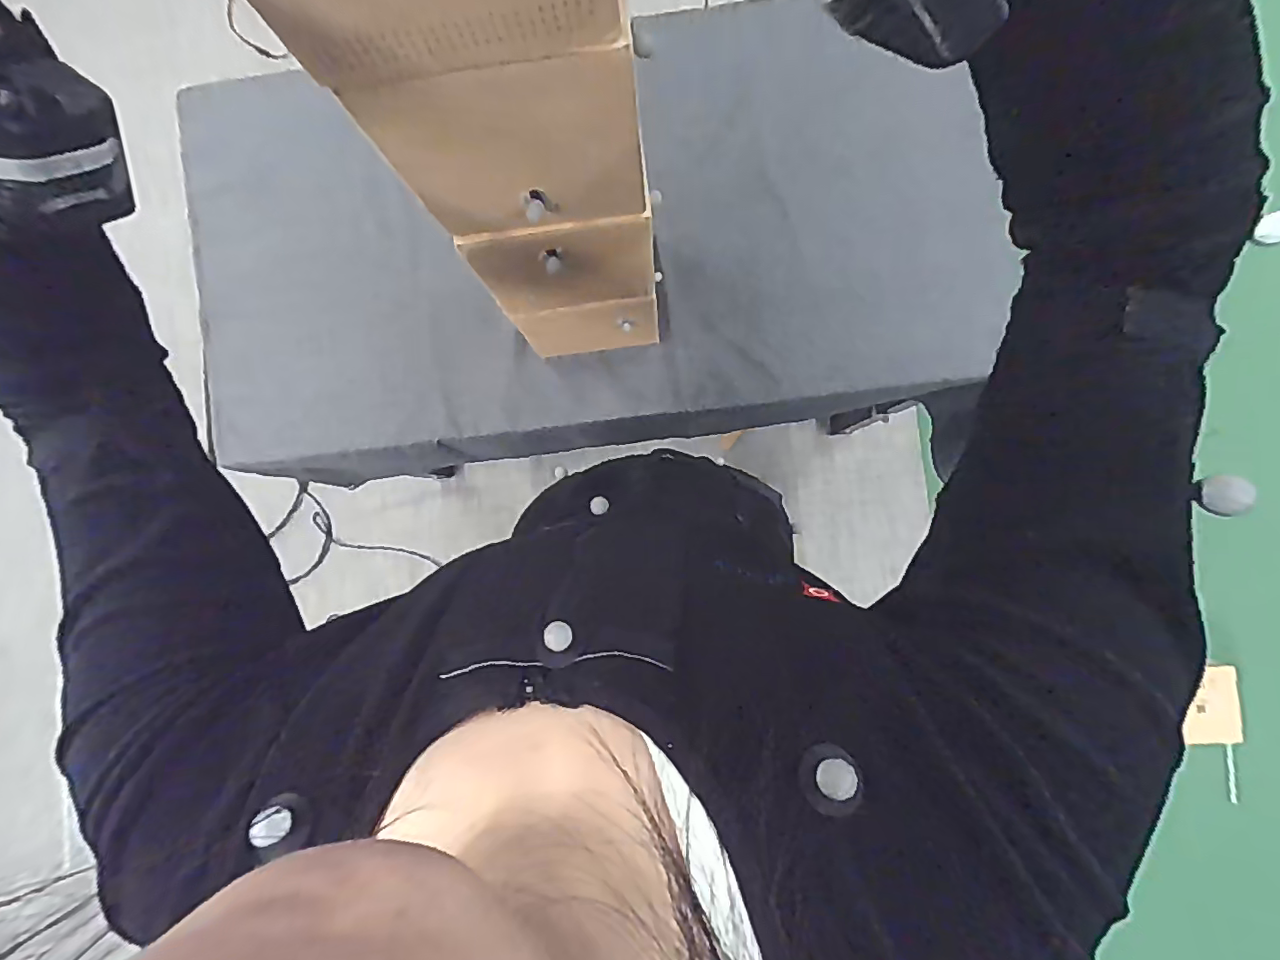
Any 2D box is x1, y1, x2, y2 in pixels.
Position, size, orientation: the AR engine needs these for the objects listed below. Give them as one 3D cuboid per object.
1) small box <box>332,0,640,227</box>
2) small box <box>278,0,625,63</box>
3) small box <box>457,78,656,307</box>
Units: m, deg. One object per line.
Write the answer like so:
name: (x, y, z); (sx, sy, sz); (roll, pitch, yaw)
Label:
small box: (-0.091, -0.308, 0.389); (0.179, 0.176, 0.168); (-5, 85, 2)
small box: (-0.106, -0.320, 0.226); (0.179, 0.176, 0.168); (-7, 87, 2)
small box: (-0.079, -0.293, 0.552); (0.179, 0.176, 0.168); (-7, 86, 3)
